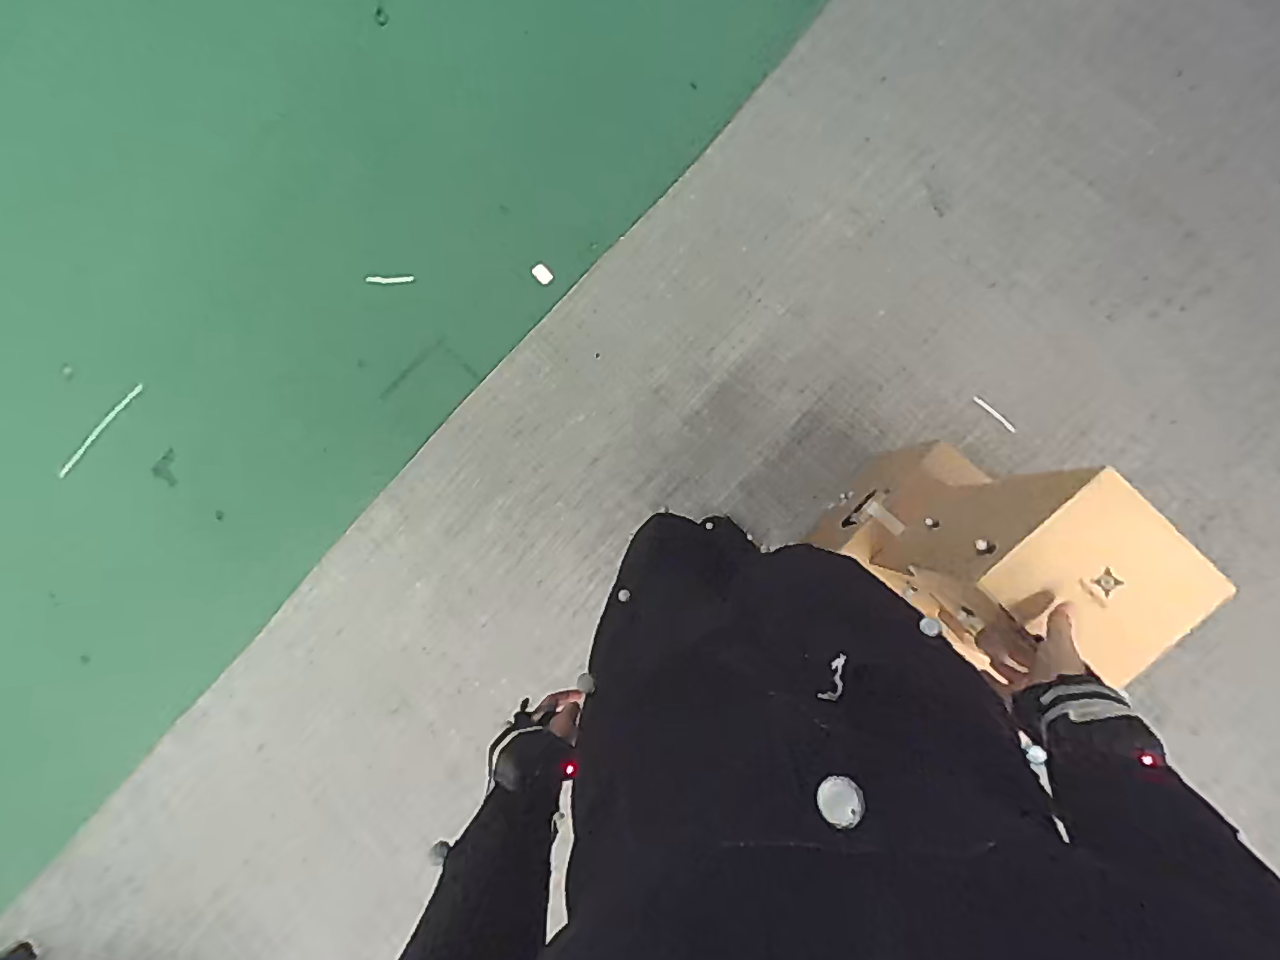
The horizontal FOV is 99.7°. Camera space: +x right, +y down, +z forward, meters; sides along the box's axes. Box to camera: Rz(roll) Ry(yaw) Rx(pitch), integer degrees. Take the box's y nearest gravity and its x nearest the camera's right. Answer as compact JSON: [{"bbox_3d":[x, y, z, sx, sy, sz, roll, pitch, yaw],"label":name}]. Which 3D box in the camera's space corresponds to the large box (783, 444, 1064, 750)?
[{"bbox_3d":[0.538,0.185,1.000,0.408,0.320,0.320,42,93,5],"label":"large box"}]

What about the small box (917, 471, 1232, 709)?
[{"bbox_3d":[0.454,0.108,0.602,0.179,0.176,0.168,-42,85,3],"label":"small box"}]
